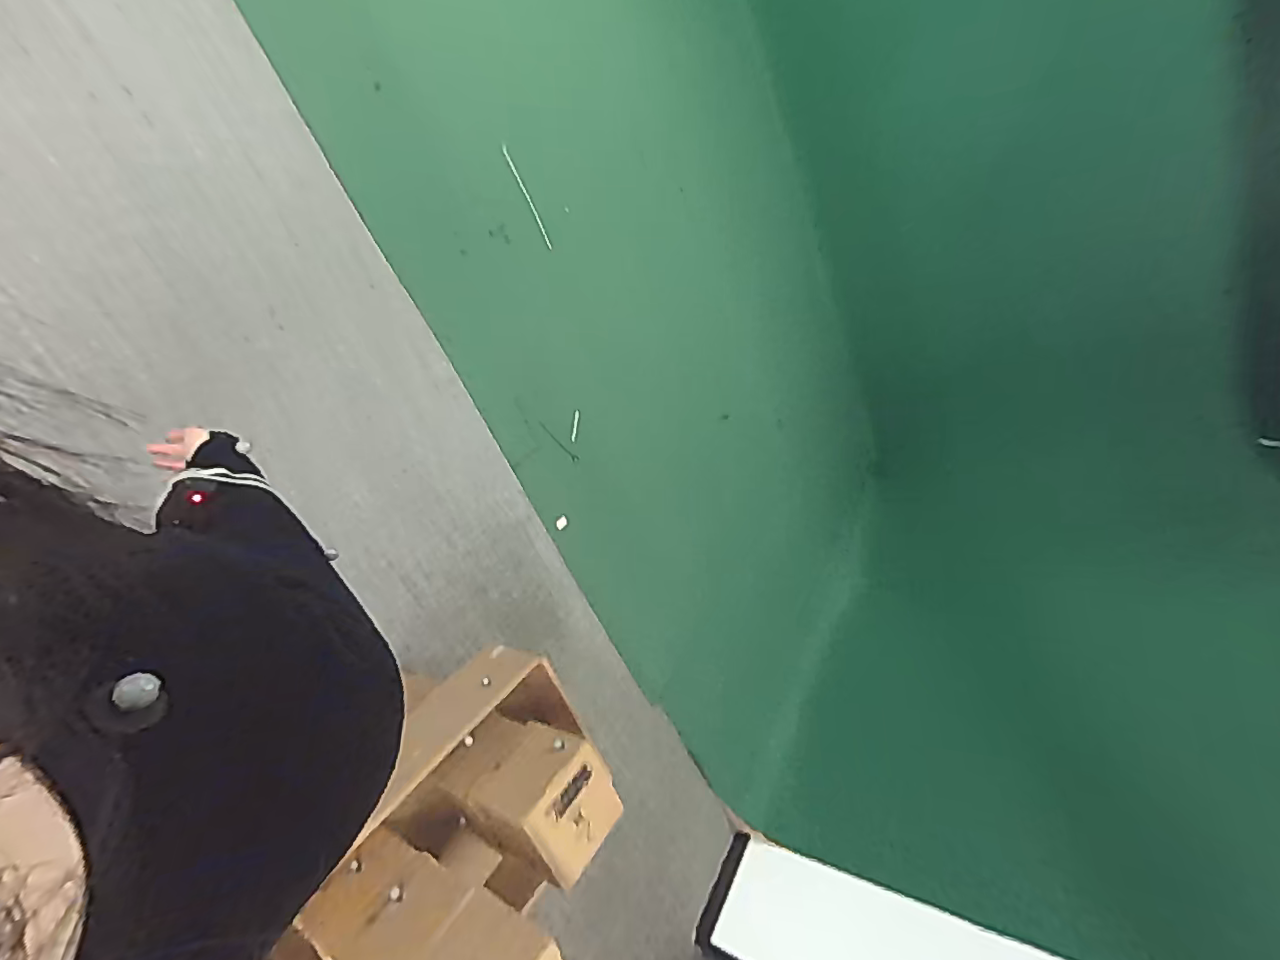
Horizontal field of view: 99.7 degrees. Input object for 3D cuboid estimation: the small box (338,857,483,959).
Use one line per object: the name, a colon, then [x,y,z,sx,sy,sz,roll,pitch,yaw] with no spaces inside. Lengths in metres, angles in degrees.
small box: [-0.306,0.711,0.802,0.168,0.176,0.179,-37,110,-44]

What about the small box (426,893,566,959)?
small box: [-0.188,0.691,0.689,0.179,0.176,0.168,-36,110,-45]
